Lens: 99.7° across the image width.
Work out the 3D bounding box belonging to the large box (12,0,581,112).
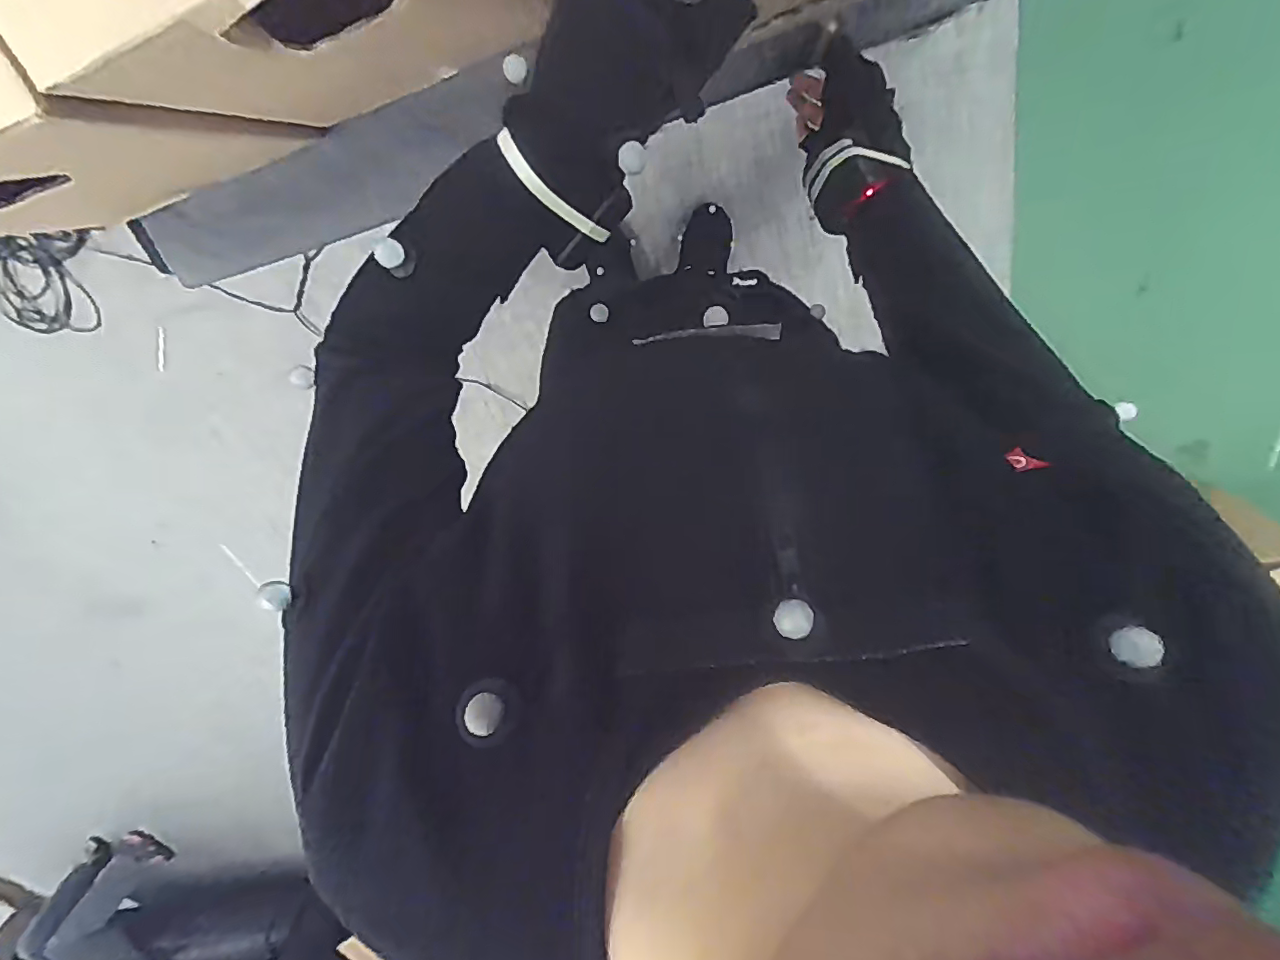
[{"bbox_3d":[-0.260,-0.519,0.333,0.320,0.320,0.408,-13,119,13],"label":"large box"}]
